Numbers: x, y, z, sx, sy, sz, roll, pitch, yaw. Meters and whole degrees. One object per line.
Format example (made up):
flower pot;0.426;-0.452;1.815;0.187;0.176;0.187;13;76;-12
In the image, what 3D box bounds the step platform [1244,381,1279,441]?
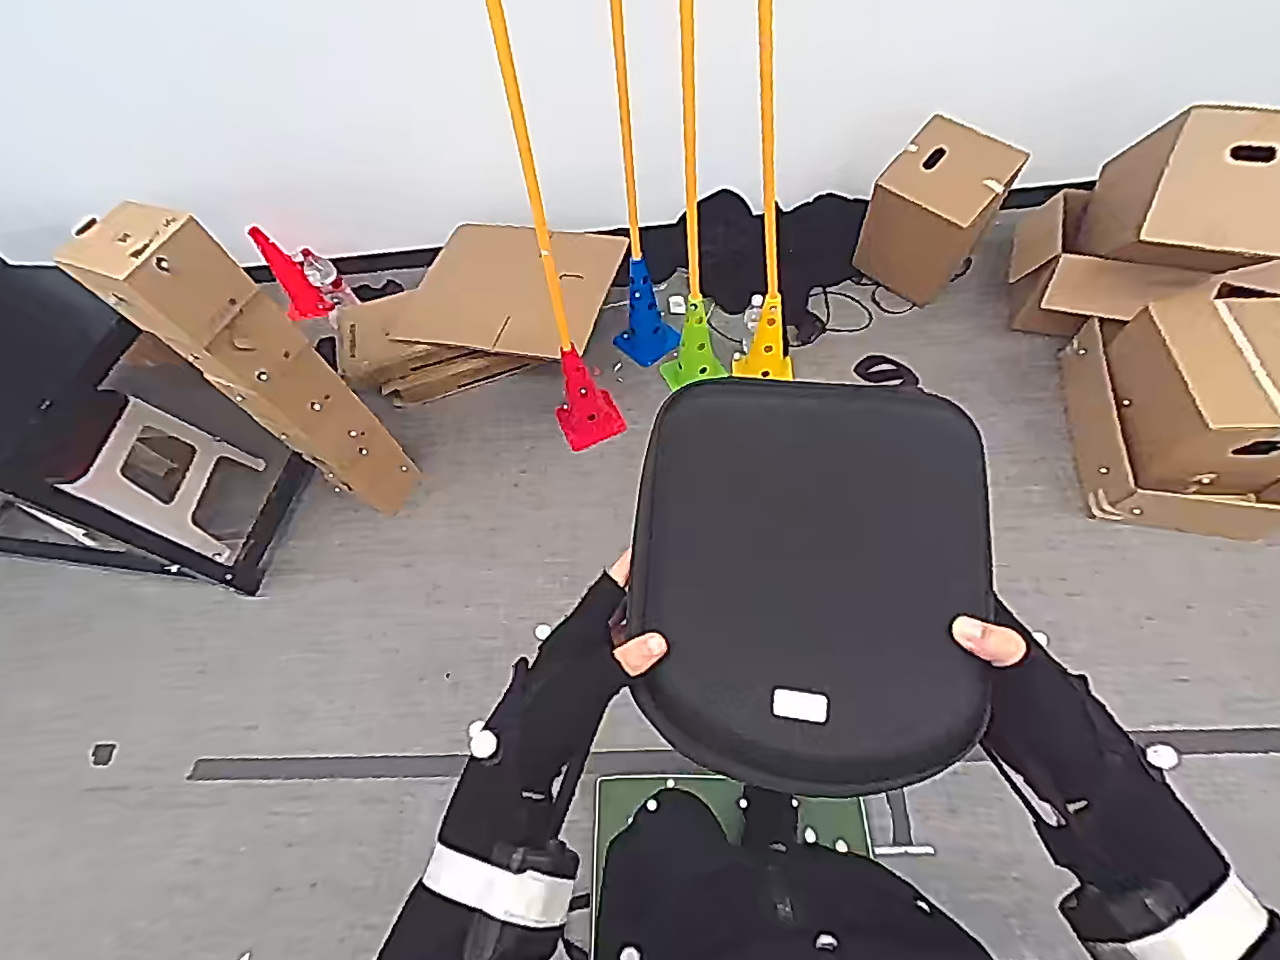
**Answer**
step platform;2.128;-0.304;1.525;0.684;0.204;0.286;-29;61;-9
